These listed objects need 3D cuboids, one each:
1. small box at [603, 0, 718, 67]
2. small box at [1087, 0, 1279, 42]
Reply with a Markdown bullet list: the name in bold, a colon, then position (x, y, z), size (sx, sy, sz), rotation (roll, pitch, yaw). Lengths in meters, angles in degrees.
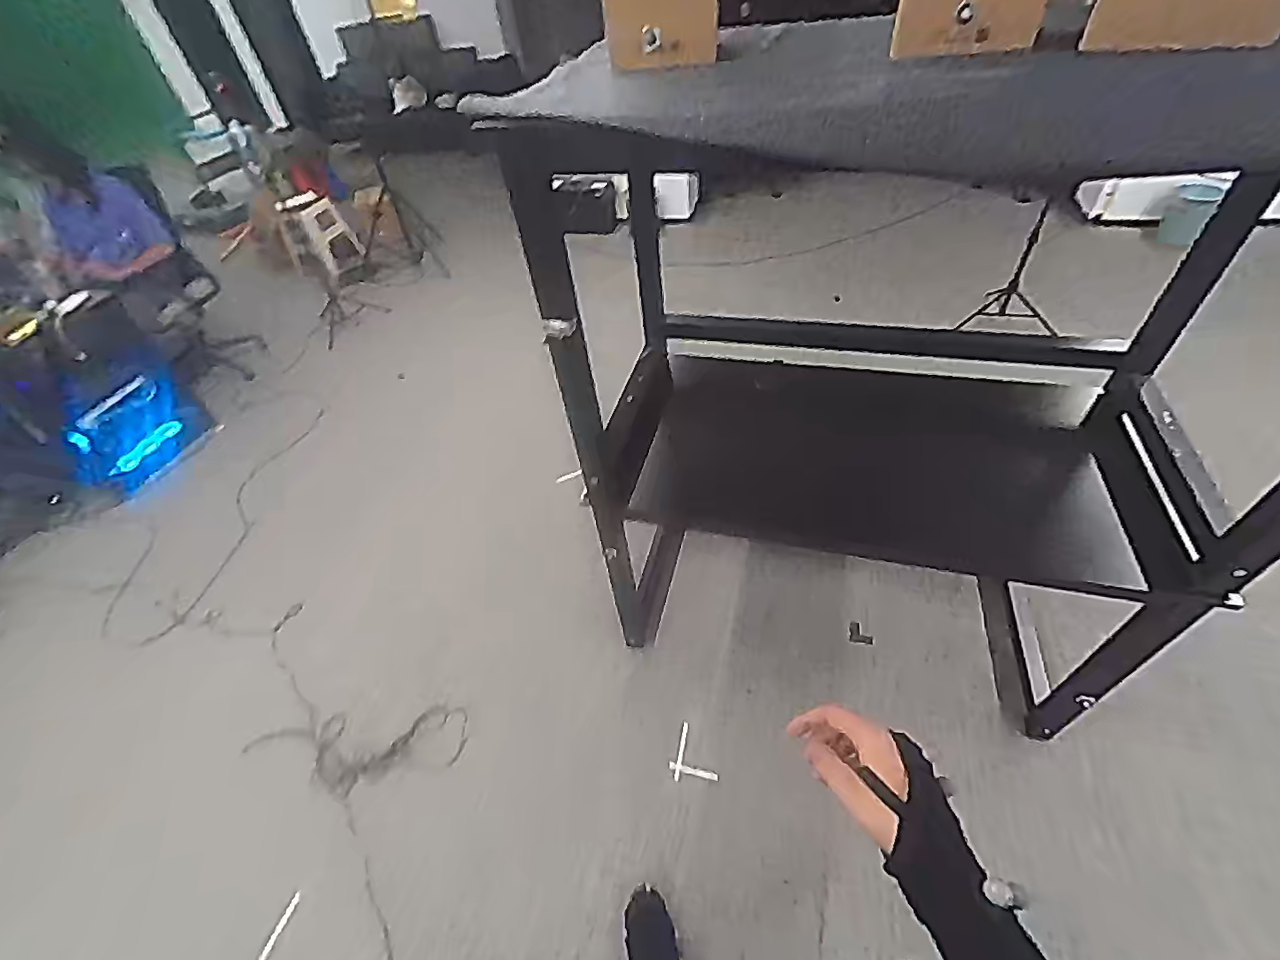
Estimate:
- **small box**: position (0.035, -0.753, 0.827), size (0.168, 0.176, 0.179), rotation (0, 47, 9)
- **small box**: position (0.630, -0.598, 0.589), size (0.179, 0.176, 0.168), rotation (21, 53, 25)
